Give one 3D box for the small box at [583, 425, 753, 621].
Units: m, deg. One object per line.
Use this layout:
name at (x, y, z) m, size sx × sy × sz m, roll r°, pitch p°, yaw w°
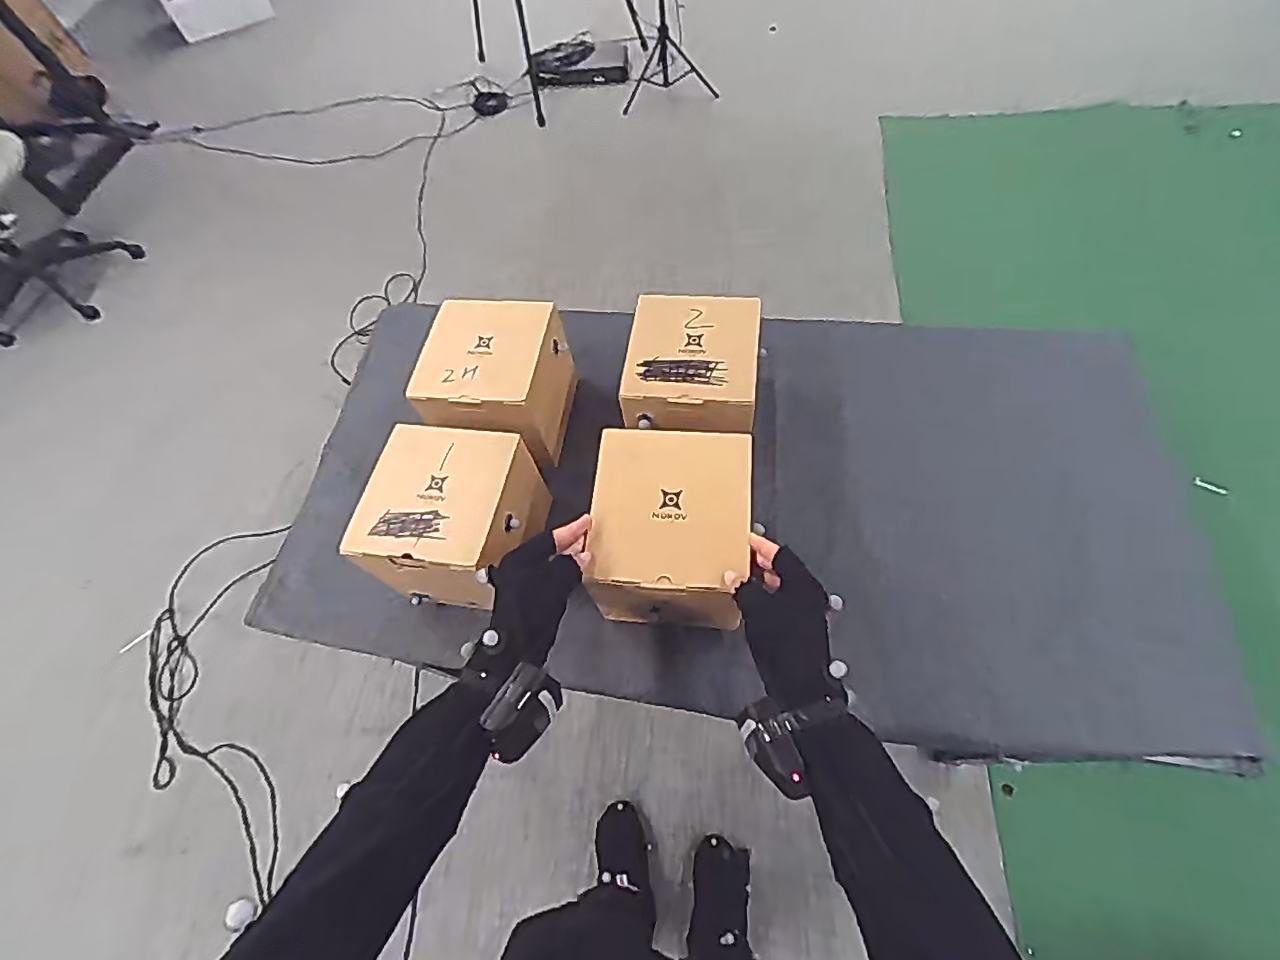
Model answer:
small box at (0.038, 0.055, 0.631) m, size 0.168 × 0.176 × 0.179 m, roll 3°, pitch 65°, yaw 6°
